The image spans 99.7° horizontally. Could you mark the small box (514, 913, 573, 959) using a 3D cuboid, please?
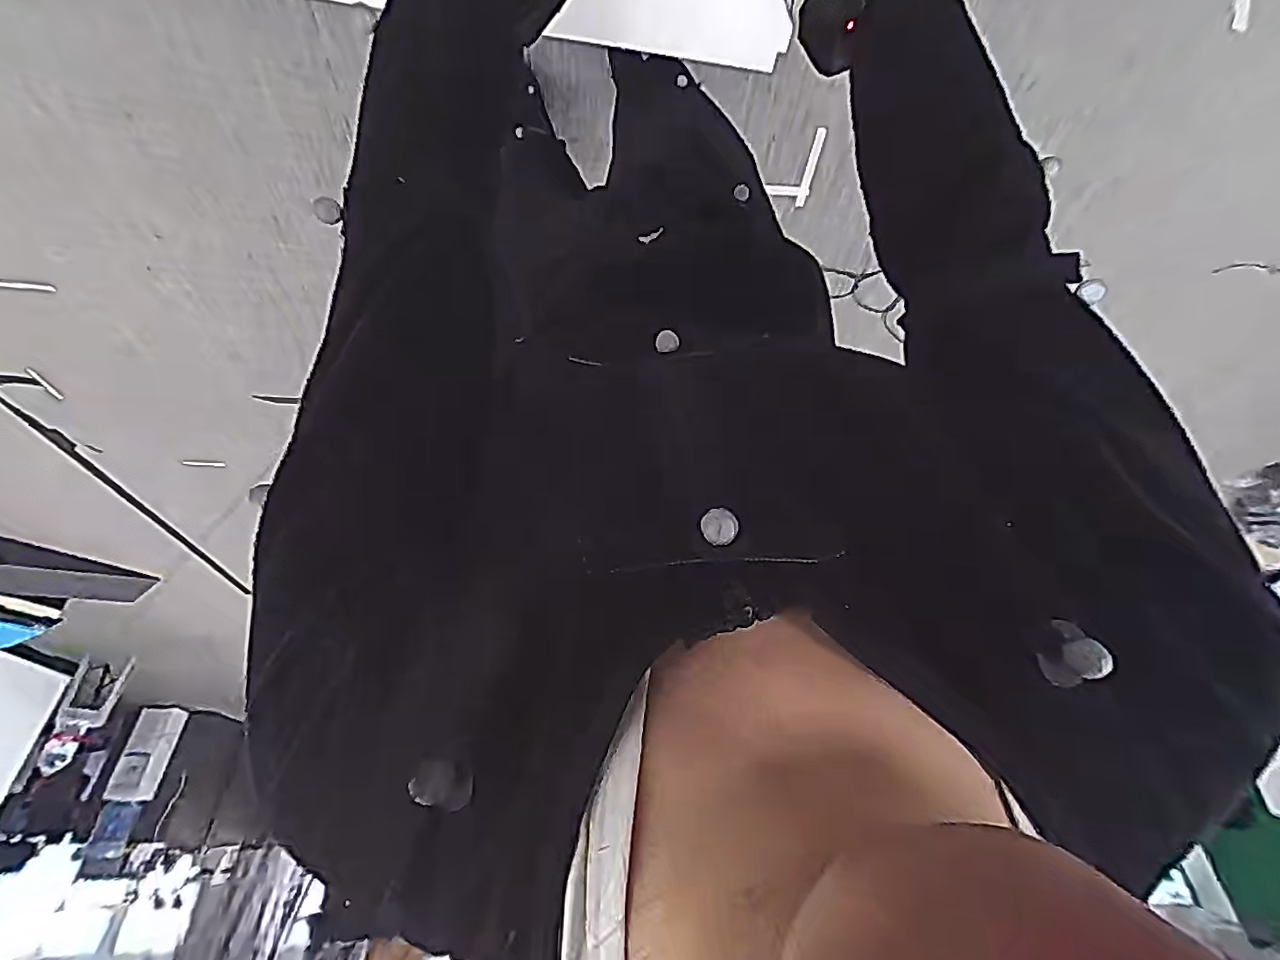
[{"bbox_3d":[-0.300,1.476,1.692,0.179,0.176,0.168,2,147,-3],"label":"small box"}]
